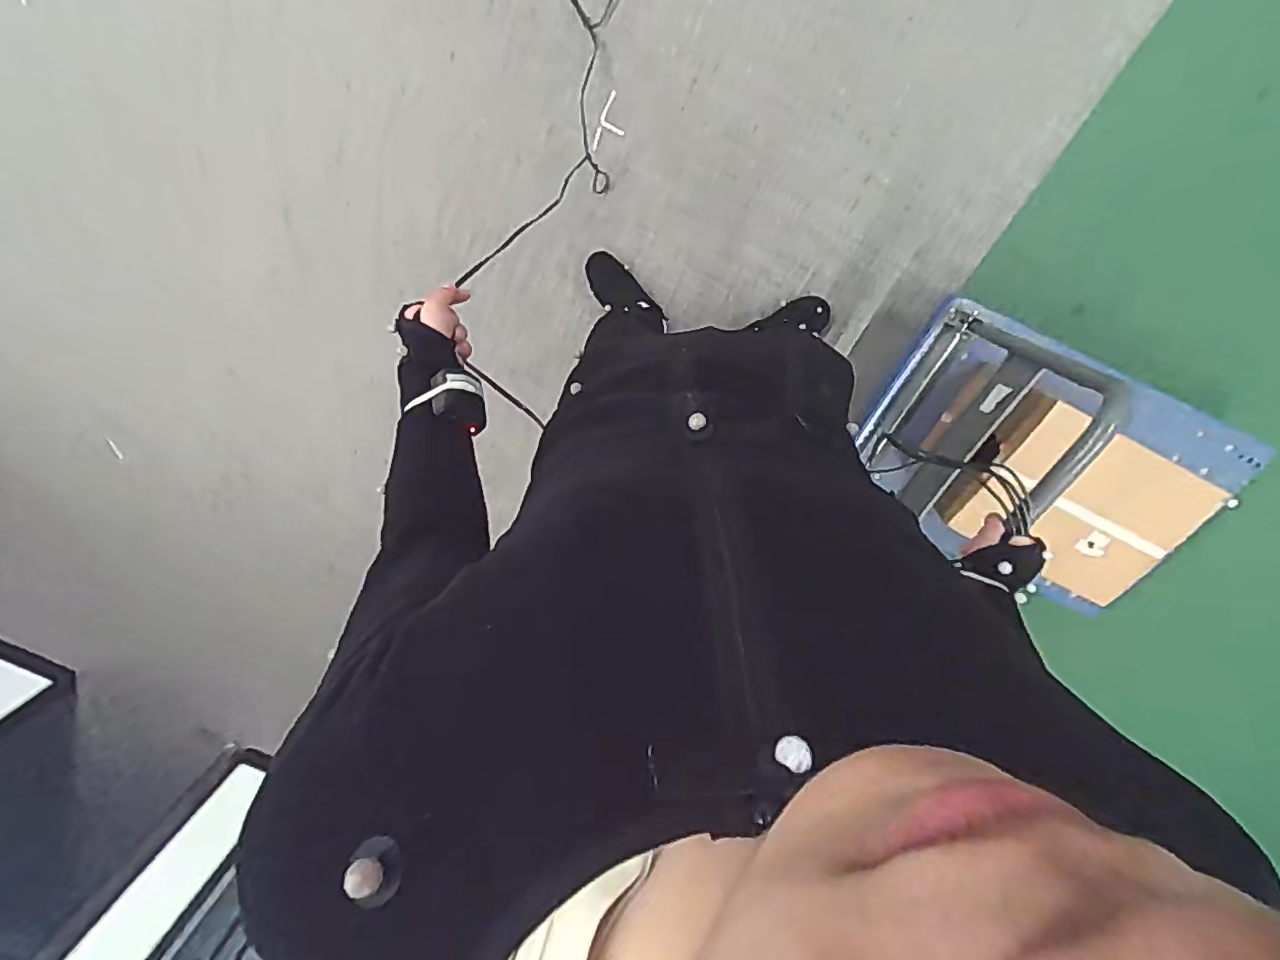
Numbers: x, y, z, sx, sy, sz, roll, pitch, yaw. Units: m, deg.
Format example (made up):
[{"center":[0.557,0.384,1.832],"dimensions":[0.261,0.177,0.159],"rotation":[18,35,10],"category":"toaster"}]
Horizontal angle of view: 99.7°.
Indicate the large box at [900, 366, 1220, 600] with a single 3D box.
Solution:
[{"center":[0.889,-0.008,1.216],"dimensions":[0.408,0.320,0.320],"rotation":[26,117,-6],"category":"large box"}]
